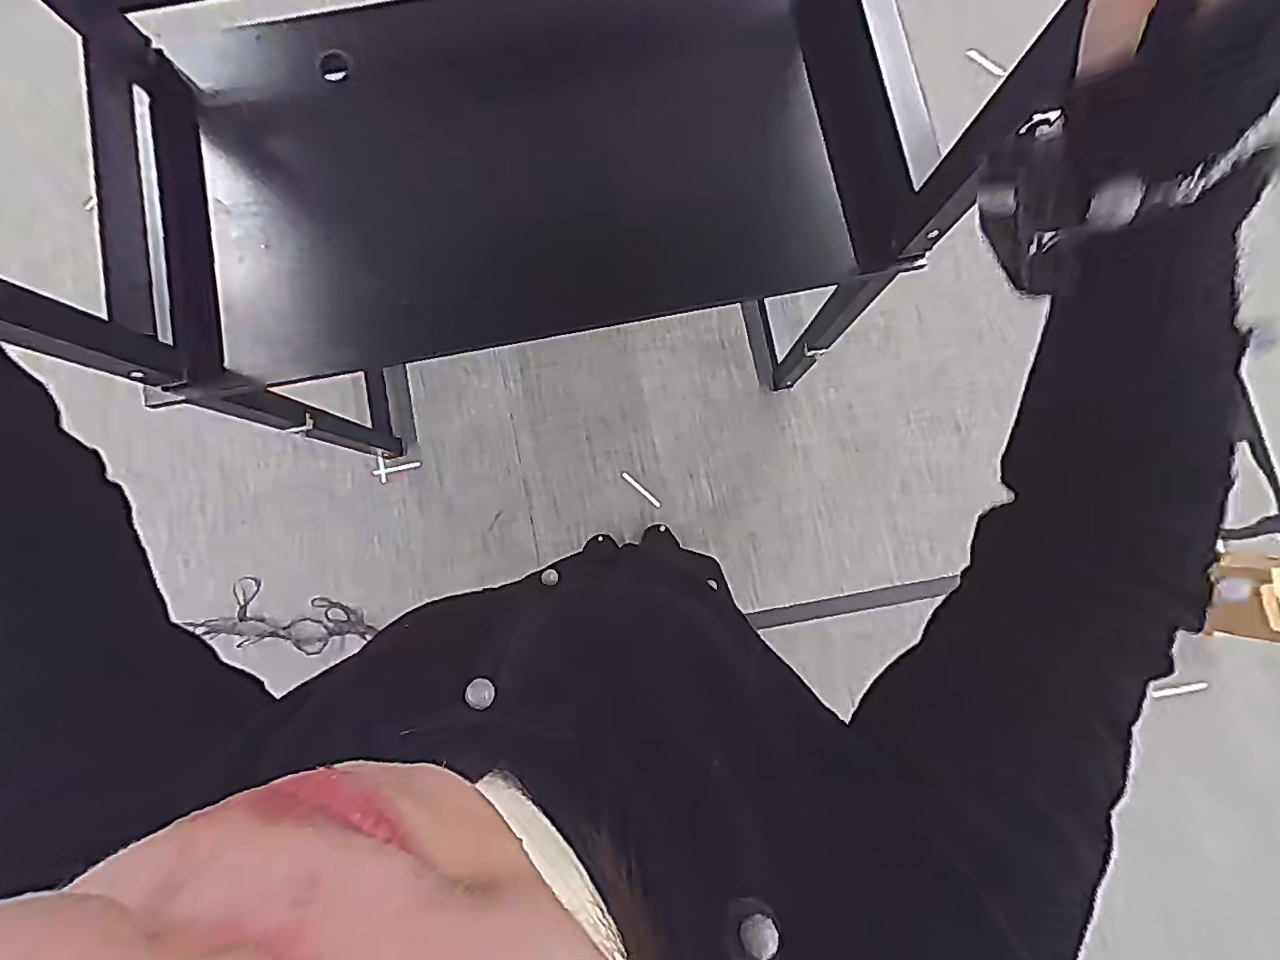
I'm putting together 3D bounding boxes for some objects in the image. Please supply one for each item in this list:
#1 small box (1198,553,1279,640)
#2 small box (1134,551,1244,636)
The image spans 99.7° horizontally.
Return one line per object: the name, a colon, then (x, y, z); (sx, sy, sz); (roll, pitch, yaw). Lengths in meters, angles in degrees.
small box: (1.441, 0.263, 1.235); (0.179, 0.176, 0.168); (-10, 85, -2)
small box: (1.447, 0.286, 1.397); (0.168, 0.176, 0.179); (-12, 85, -1)
